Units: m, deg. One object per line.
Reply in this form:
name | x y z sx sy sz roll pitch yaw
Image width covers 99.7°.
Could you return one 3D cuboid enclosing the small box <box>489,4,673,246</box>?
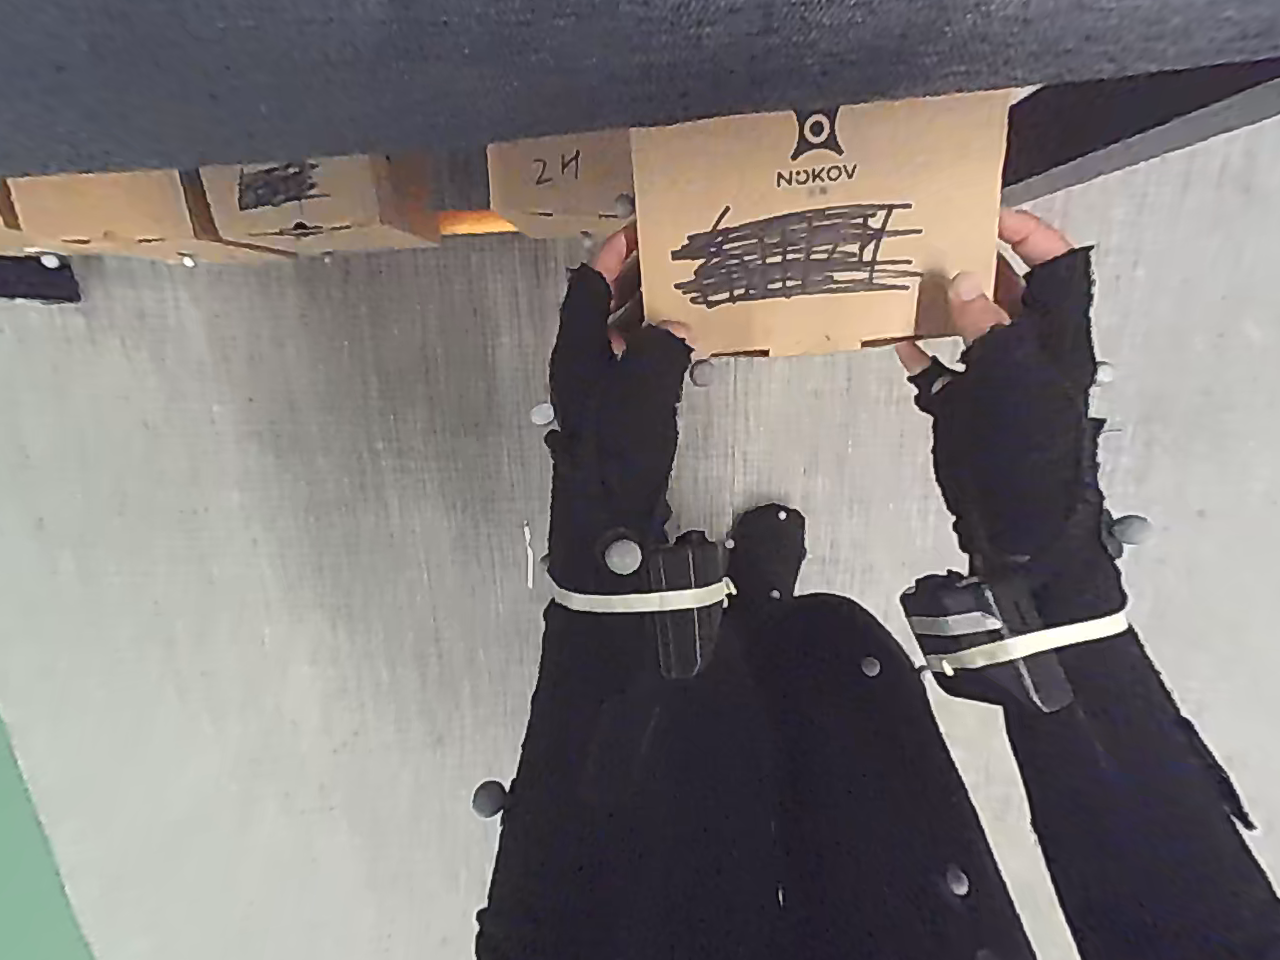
small box | -0.054 -0.357 0.576 0.168 0.176 0.179 2 108 1
